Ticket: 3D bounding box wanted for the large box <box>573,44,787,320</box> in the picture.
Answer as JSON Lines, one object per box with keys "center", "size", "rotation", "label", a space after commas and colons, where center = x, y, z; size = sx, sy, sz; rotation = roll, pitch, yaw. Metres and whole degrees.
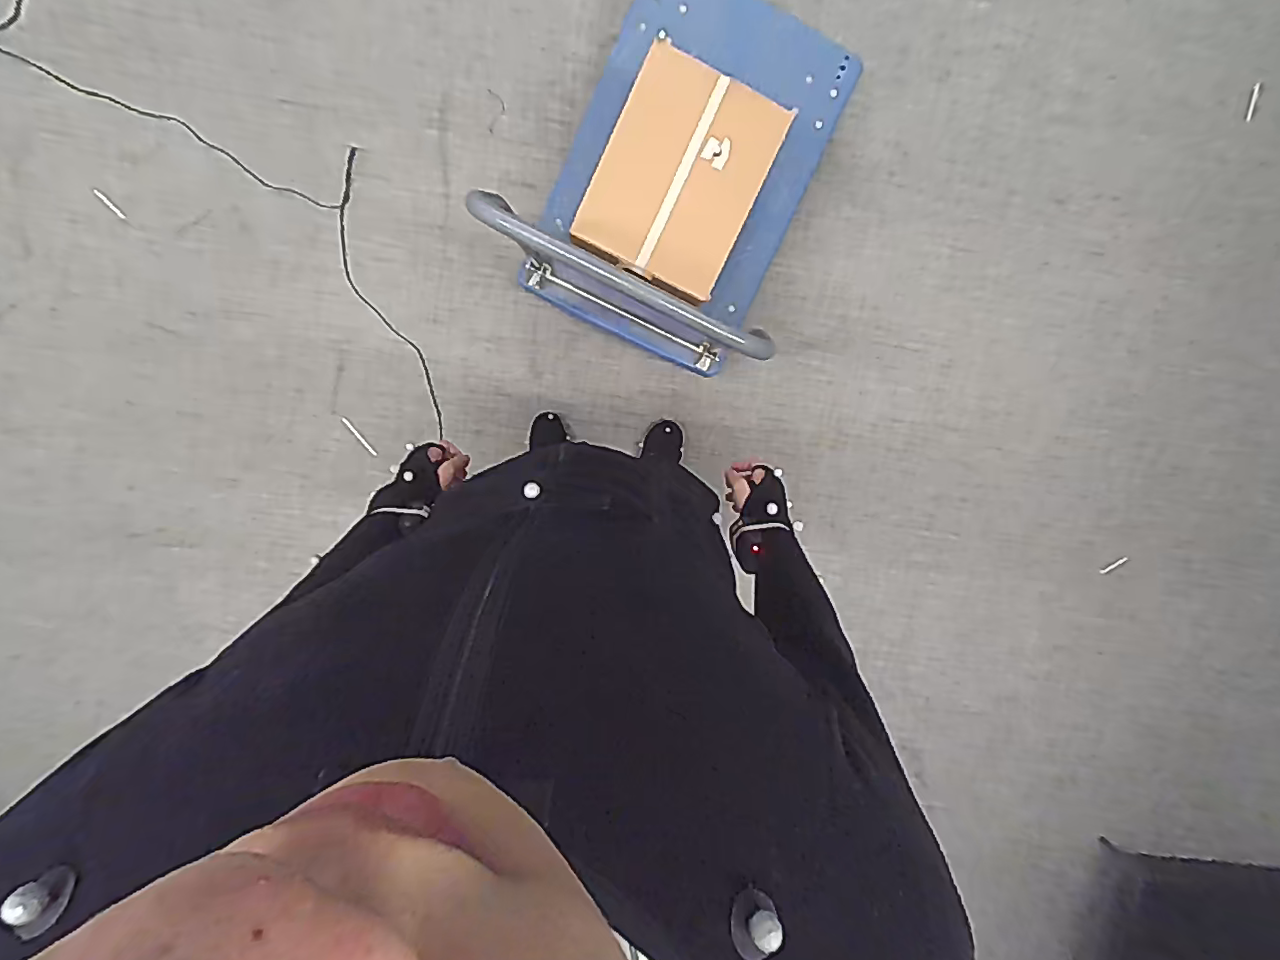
{"center": [0.073, -0.637, 1.244], "size": [0.320, 0.320, 0.408], "rotation": [25, 95, -6], "label": "large box"}
